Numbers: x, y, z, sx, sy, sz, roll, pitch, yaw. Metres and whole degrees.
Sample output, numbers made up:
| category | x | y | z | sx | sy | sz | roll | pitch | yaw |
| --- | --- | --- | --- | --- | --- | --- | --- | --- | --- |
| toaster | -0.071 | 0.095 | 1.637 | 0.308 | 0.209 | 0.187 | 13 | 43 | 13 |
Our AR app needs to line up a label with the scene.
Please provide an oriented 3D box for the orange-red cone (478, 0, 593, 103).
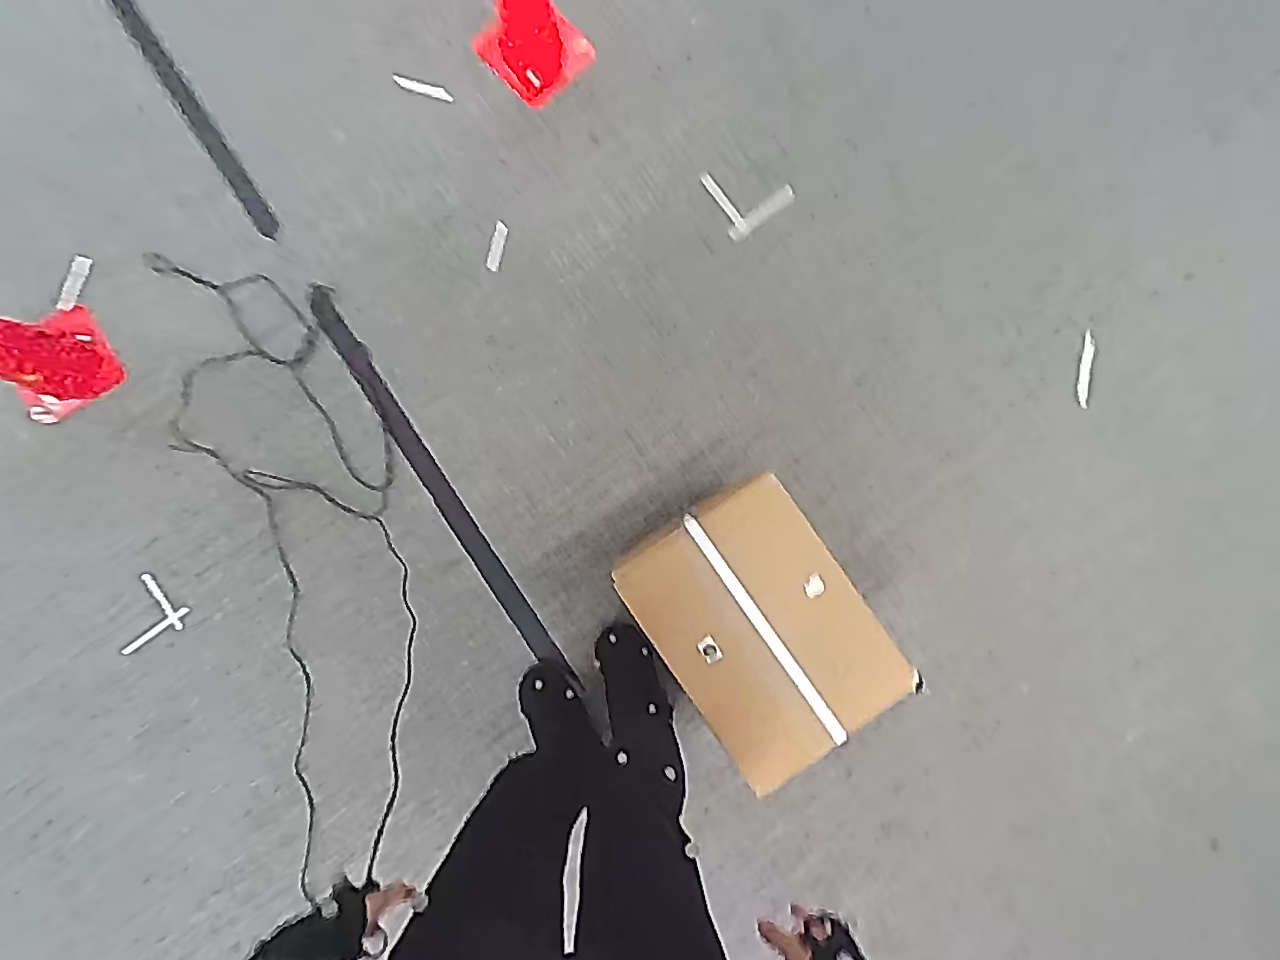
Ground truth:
| category | x | y | z | sx | sy | sz | roll | pitch | yaw |
| --- | --- | --- | --- | --- | --- | --- | --- | --- | --- |
| orange-red cone | -0.224 | -0.958 | 1.016 | 0.199 | 0.360 | 0.198 | -43 | 89 | -4 |
